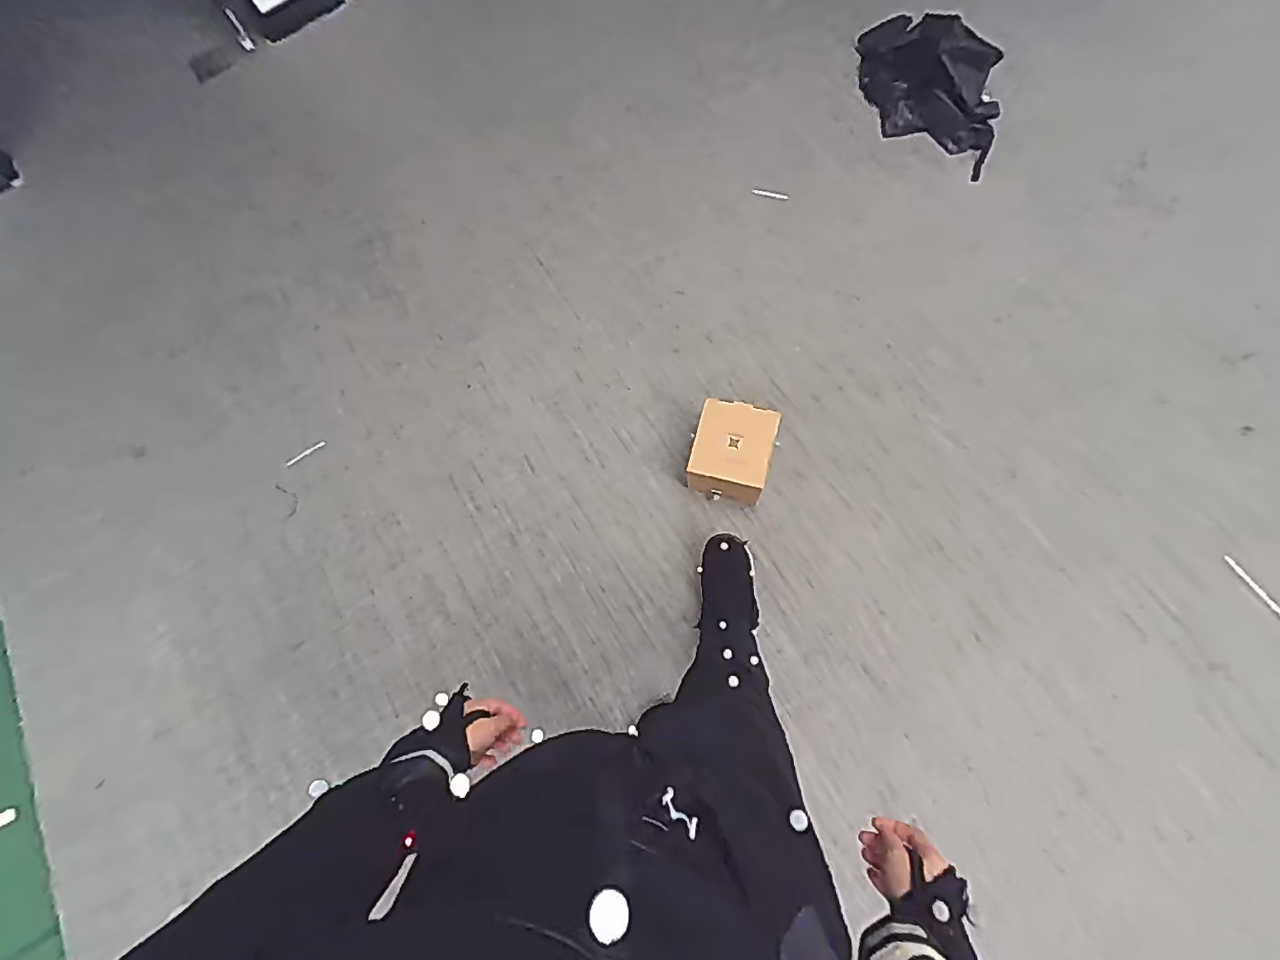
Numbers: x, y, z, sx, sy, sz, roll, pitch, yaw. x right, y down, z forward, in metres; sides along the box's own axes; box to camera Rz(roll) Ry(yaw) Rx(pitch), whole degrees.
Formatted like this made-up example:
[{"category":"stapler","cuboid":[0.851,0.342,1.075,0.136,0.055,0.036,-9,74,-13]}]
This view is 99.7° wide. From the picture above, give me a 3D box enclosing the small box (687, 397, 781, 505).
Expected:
[{"category":"small box","cuboid":[0.204,-0.059,1.204,0.168,0.176,0.179,13,77,10]}]
